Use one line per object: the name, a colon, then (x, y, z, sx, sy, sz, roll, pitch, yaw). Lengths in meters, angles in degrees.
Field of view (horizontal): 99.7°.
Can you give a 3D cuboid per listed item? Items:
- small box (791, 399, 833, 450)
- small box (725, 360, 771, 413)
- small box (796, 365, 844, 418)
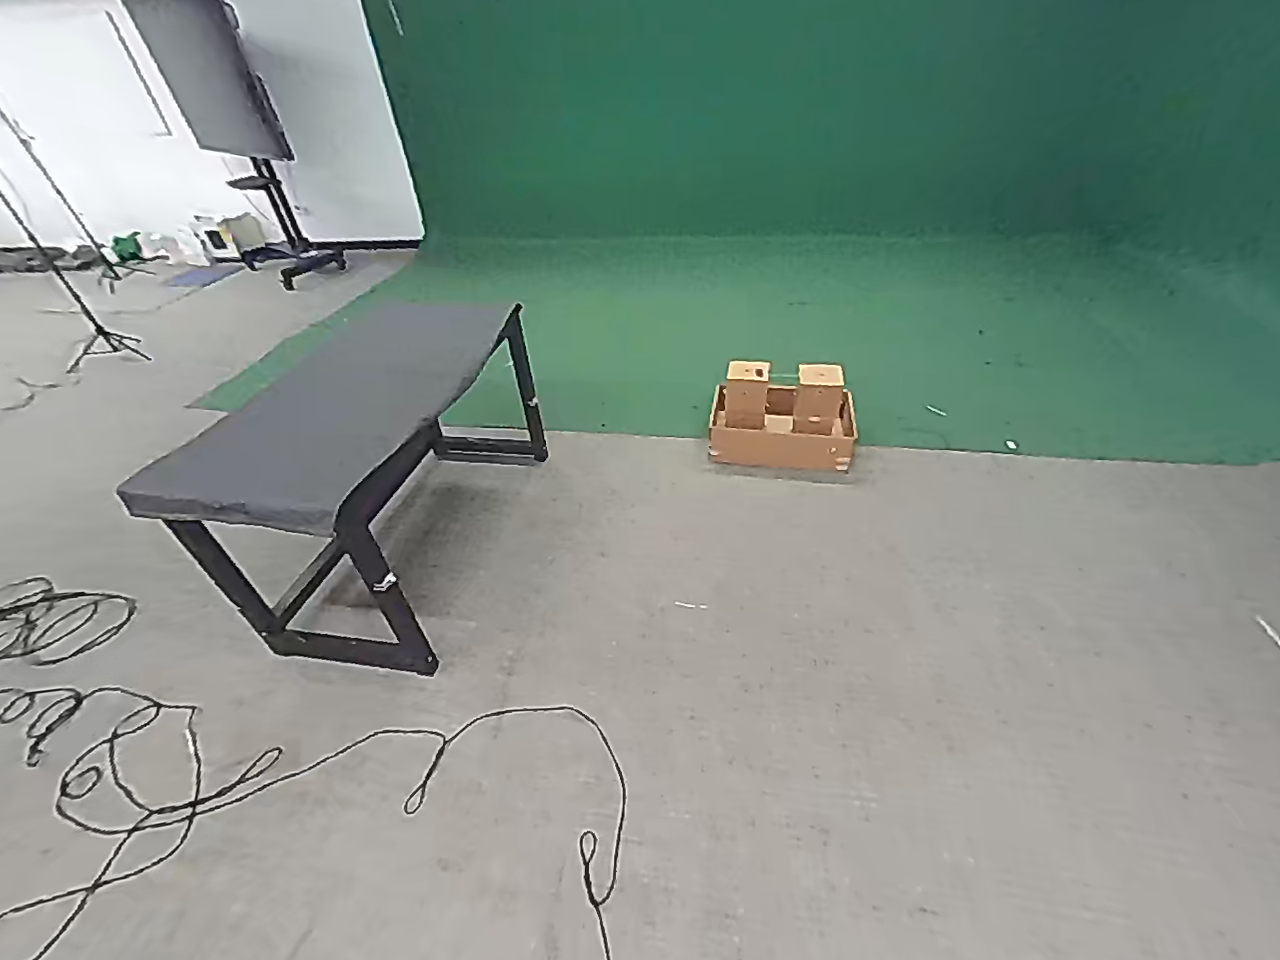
small box: (0.769, -0.250, 2.417, 0.168, 0.176, 0.179, 6, 42, 13)
small box: (0.474, -0.407, 2.371, 0.179, 0.176, 0.168, 6, 40, 12)
small box: (0.766, -0.380, 2.318, 0.179, 0.176, 0.168, 5, 42, 10)
